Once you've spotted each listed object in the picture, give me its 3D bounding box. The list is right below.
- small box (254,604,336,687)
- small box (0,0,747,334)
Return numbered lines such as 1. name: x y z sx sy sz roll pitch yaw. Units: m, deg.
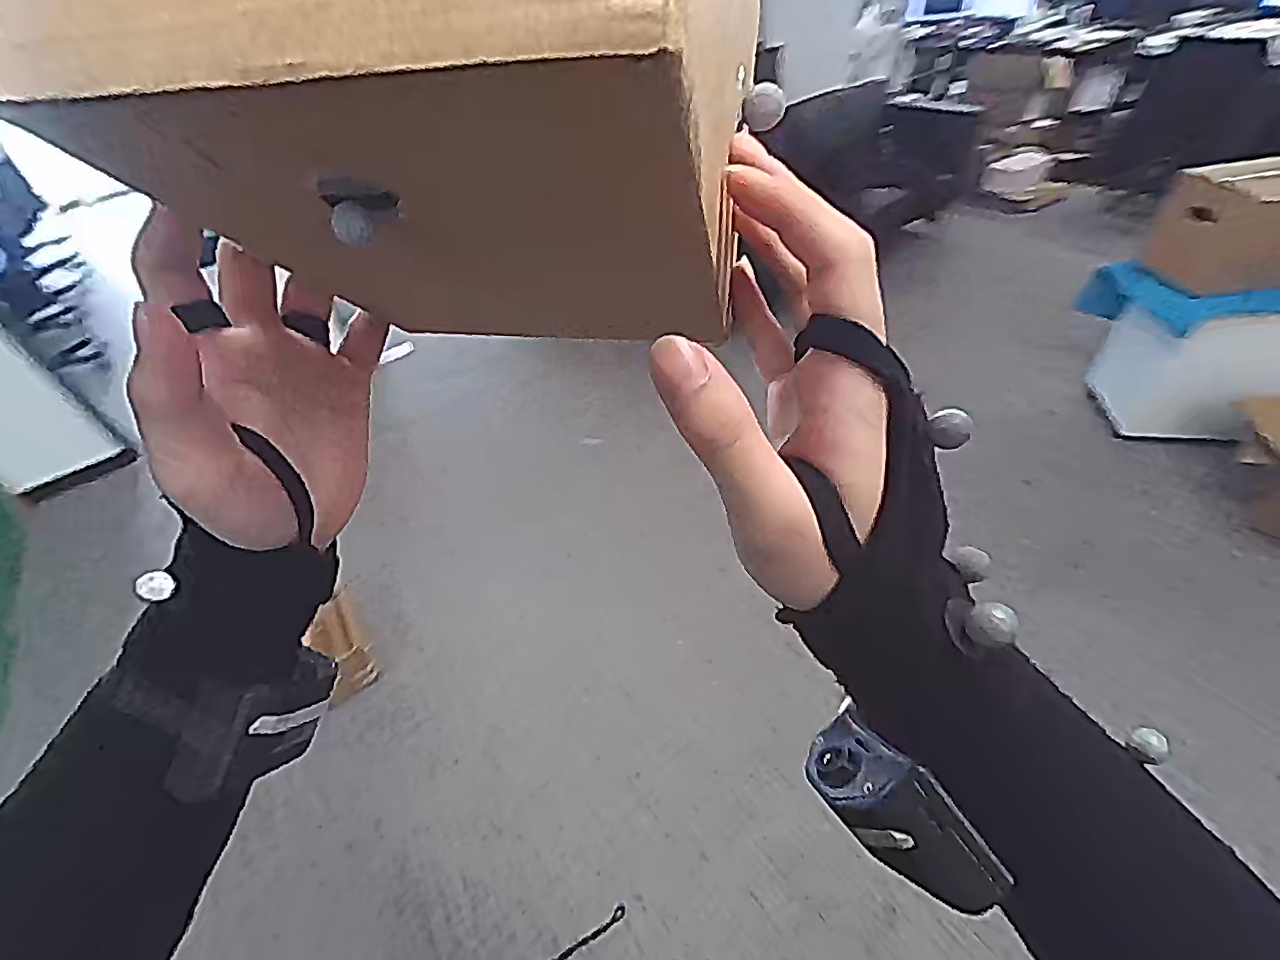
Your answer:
1. small box: -1.112 0.544 1.751 0.168 0.176 0.179 -26 47 -18
2. small box: -0.056 -0.161 0.199 0.179 0.176 0.168 5 87 11
